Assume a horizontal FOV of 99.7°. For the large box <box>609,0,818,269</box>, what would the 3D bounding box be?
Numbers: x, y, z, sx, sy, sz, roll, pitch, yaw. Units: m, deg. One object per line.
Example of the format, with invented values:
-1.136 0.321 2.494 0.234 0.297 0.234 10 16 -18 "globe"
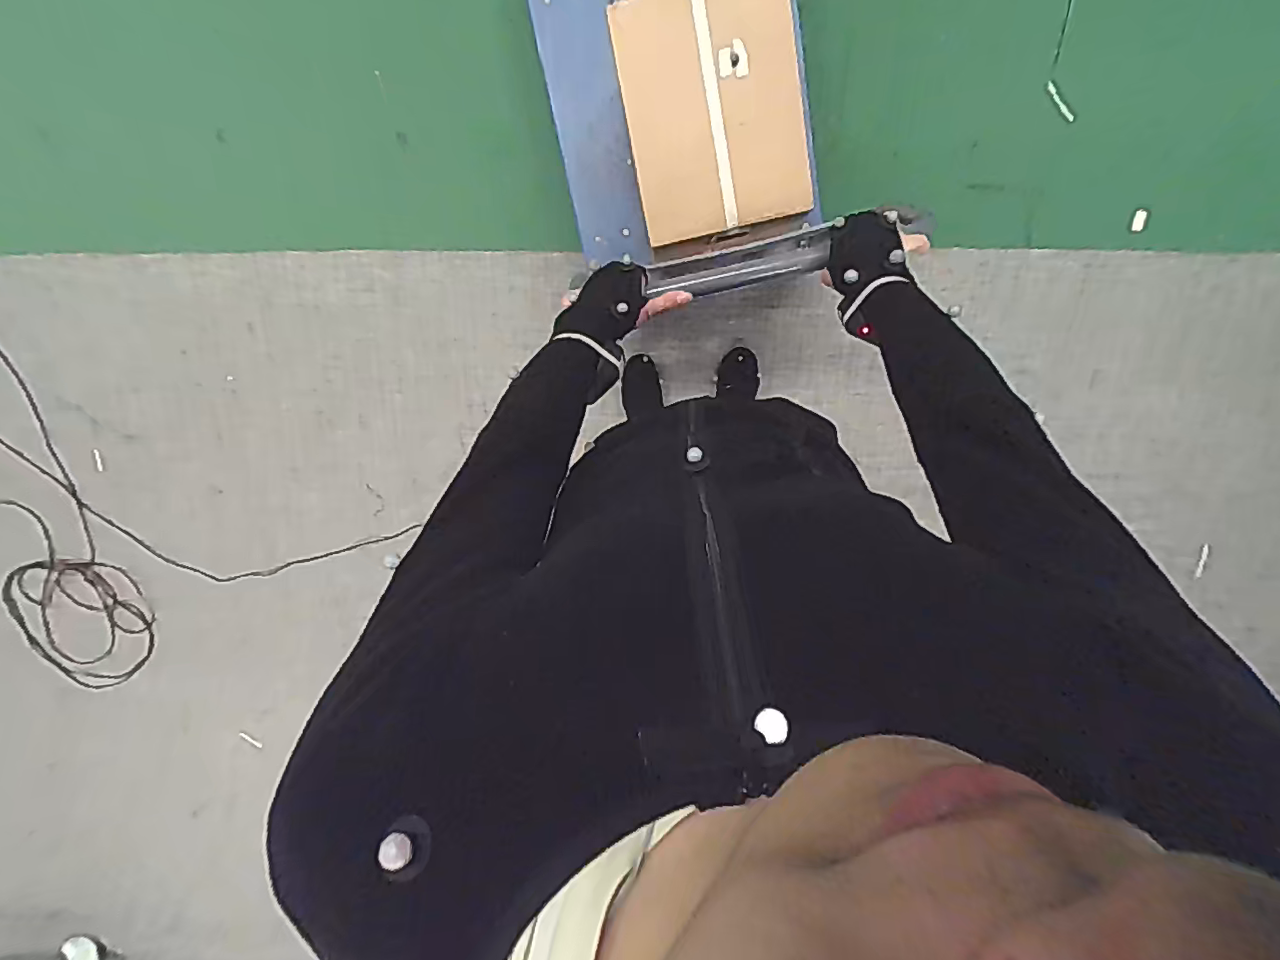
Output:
0.147 -0.691 1.105 0.320 0.320 0.408 -11 103 5 "large box"
